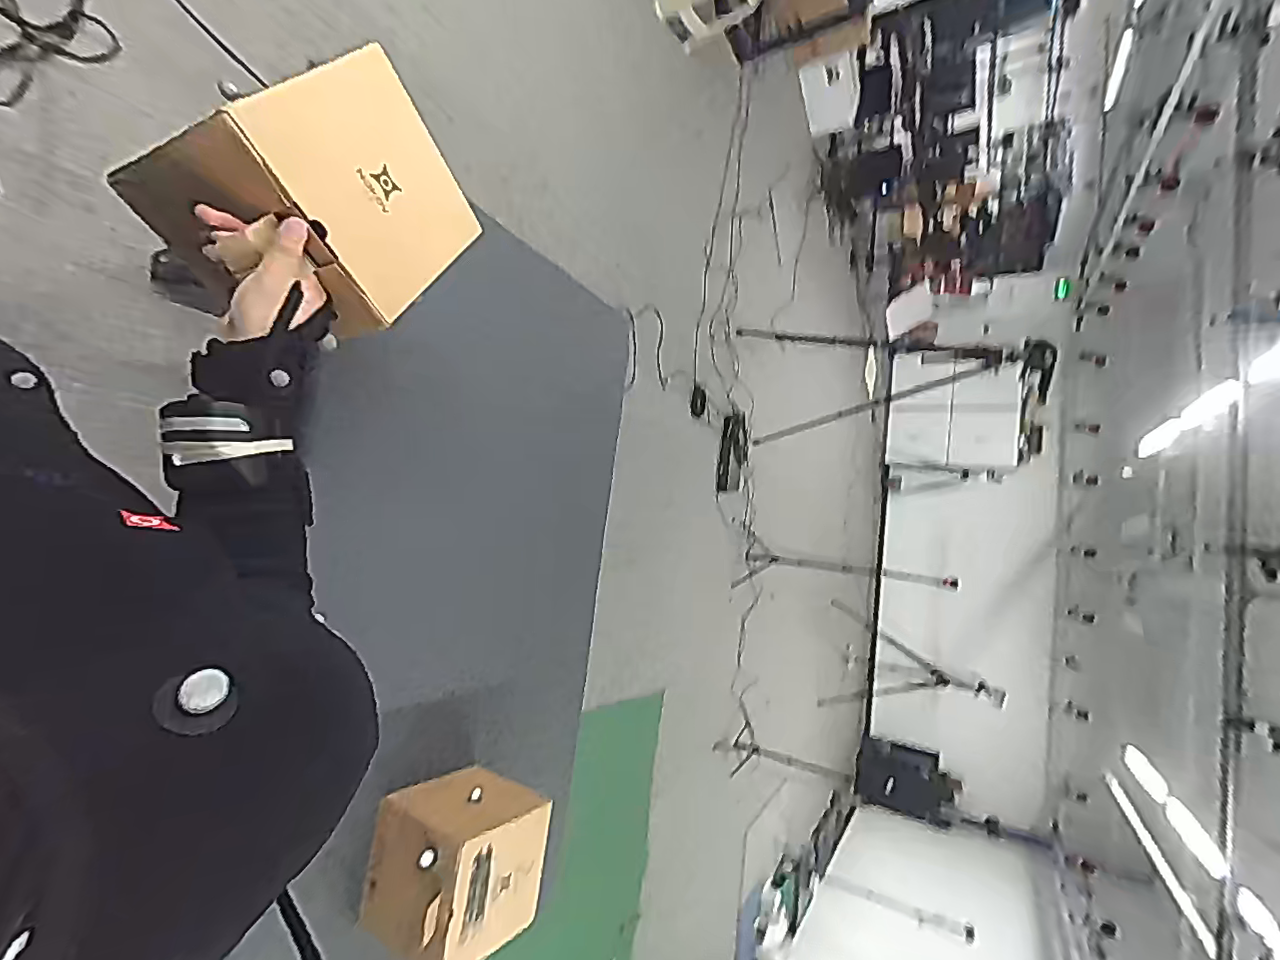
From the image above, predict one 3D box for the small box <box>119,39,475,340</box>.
[{"bbox_3d":[-0.290,-0.248,0.483,0.168,0.176,0.179,62,37,-42],"label":"small box"}]
